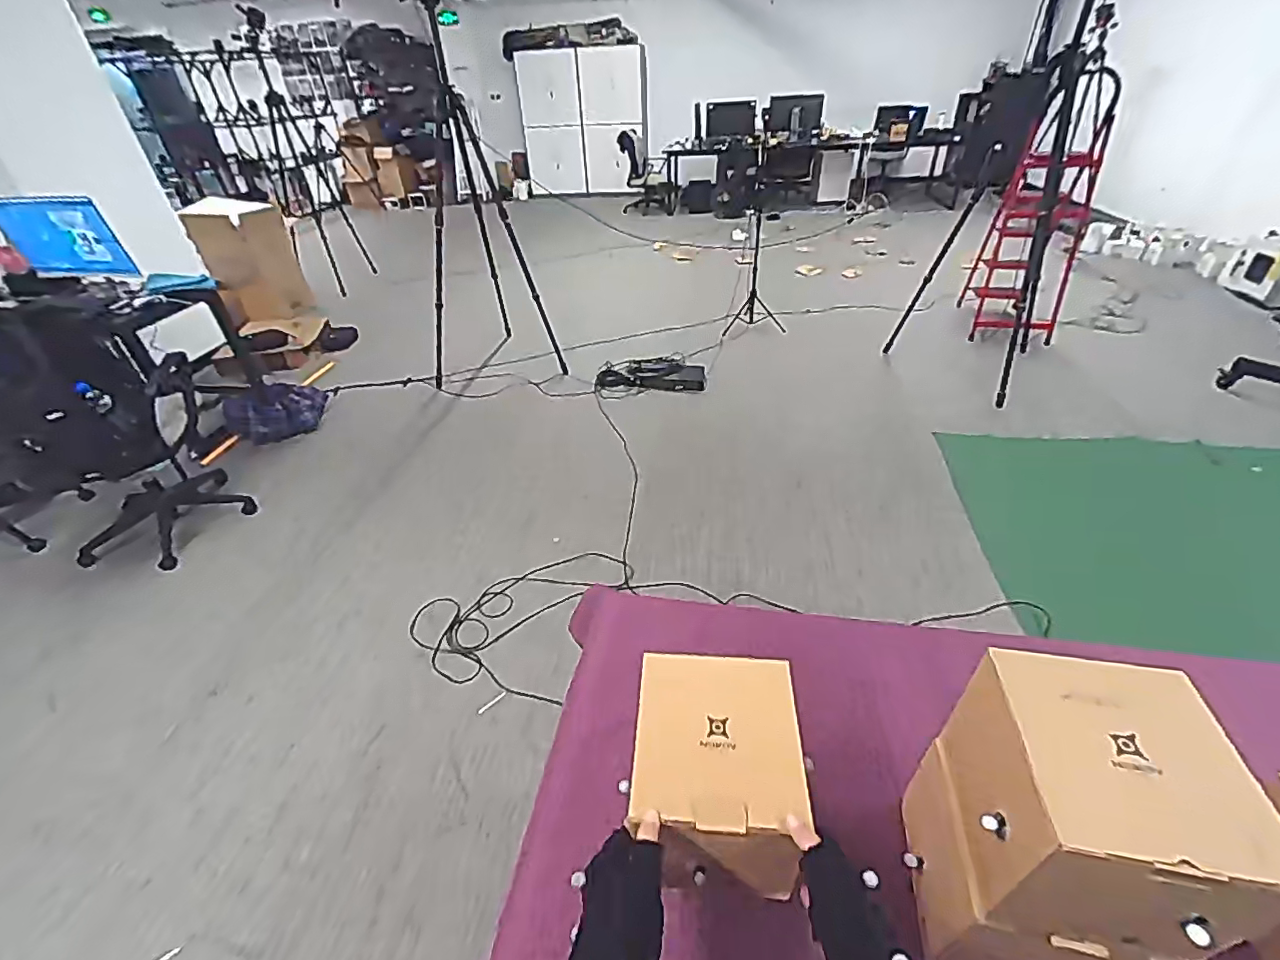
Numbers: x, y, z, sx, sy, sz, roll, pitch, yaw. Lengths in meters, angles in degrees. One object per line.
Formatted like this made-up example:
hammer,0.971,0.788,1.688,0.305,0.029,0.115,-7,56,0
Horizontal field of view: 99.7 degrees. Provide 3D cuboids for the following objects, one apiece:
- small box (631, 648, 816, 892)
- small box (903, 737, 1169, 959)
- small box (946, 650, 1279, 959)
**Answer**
small box,0.080,0.310,0.587,0.168,0.176,0.179,2,39,4
small box,0.399,0.415,0.581,0.168,0.176,0.179,6,39,11
small box,0.399,0.285,0.482,0.168,0.176,0.179,6,38,11
